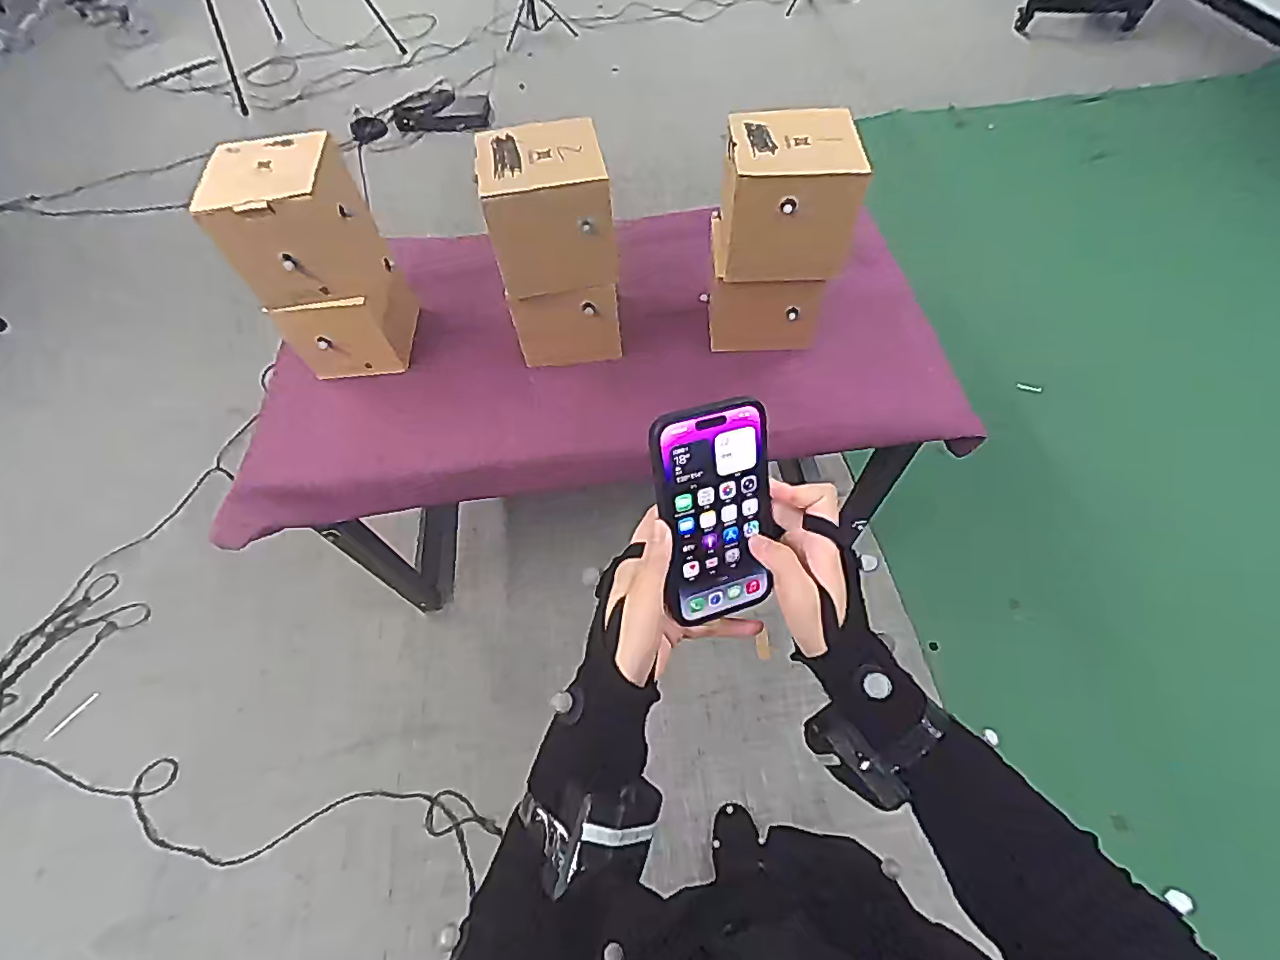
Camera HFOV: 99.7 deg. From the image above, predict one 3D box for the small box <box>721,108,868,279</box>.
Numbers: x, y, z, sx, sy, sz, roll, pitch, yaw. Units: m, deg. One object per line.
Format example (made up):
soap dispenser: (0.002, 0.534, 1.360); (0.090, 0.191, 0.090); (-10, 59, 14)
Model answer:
small box: (0.213, -0.418, 0.804); (0.179, 0.176, 0.168); (-1, 58, 3)

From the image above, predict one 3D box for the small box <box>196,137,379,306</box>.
small box: (-0.527, -0.390, 0.840); (0.168, 0.176, 0.179); (-10, 59, -3)

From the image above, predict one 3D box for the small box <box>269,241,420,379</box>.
small box: (-0.516, -0.298, 0.975); (0.168, 0.176, 0.179); (-6, 58, 1)

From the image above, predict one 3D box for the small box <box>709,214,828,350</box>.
small box: (0.214, -0.345, 0.951); (0.179, 0.176, 0.168); (-1, 58, 5)

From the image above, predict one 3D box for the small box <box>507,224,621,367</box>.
small box: (-0.126, -0.322, 0.960); (0.179, 0.176, 0.168); (-6, 58, 1)
